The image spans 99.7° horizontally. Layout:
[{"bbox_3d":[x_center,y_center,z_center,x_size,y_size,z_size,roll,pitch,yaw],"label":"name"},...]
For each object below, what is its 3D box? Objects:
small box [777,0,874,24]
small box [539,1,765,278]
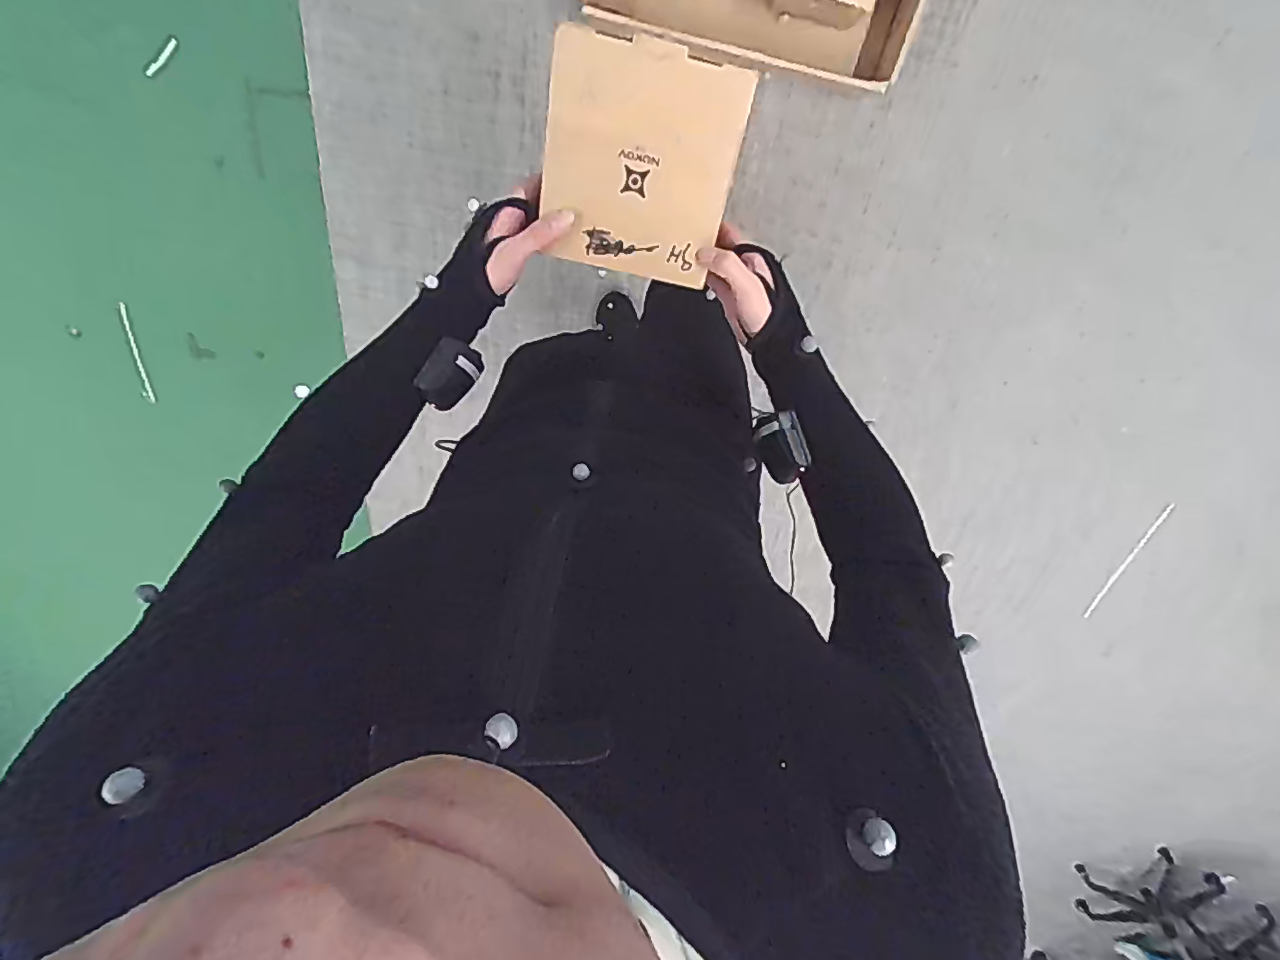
[{"bbox_3d":[0.350,-0.951,0.962,0.168,0.176,0.179,12,120,-2],"label":"small box"},{"bbox_3d":[0.004,-0.322,0.529,0.168,0.176,0.179,11,124,-5],"label":"small box"}]
